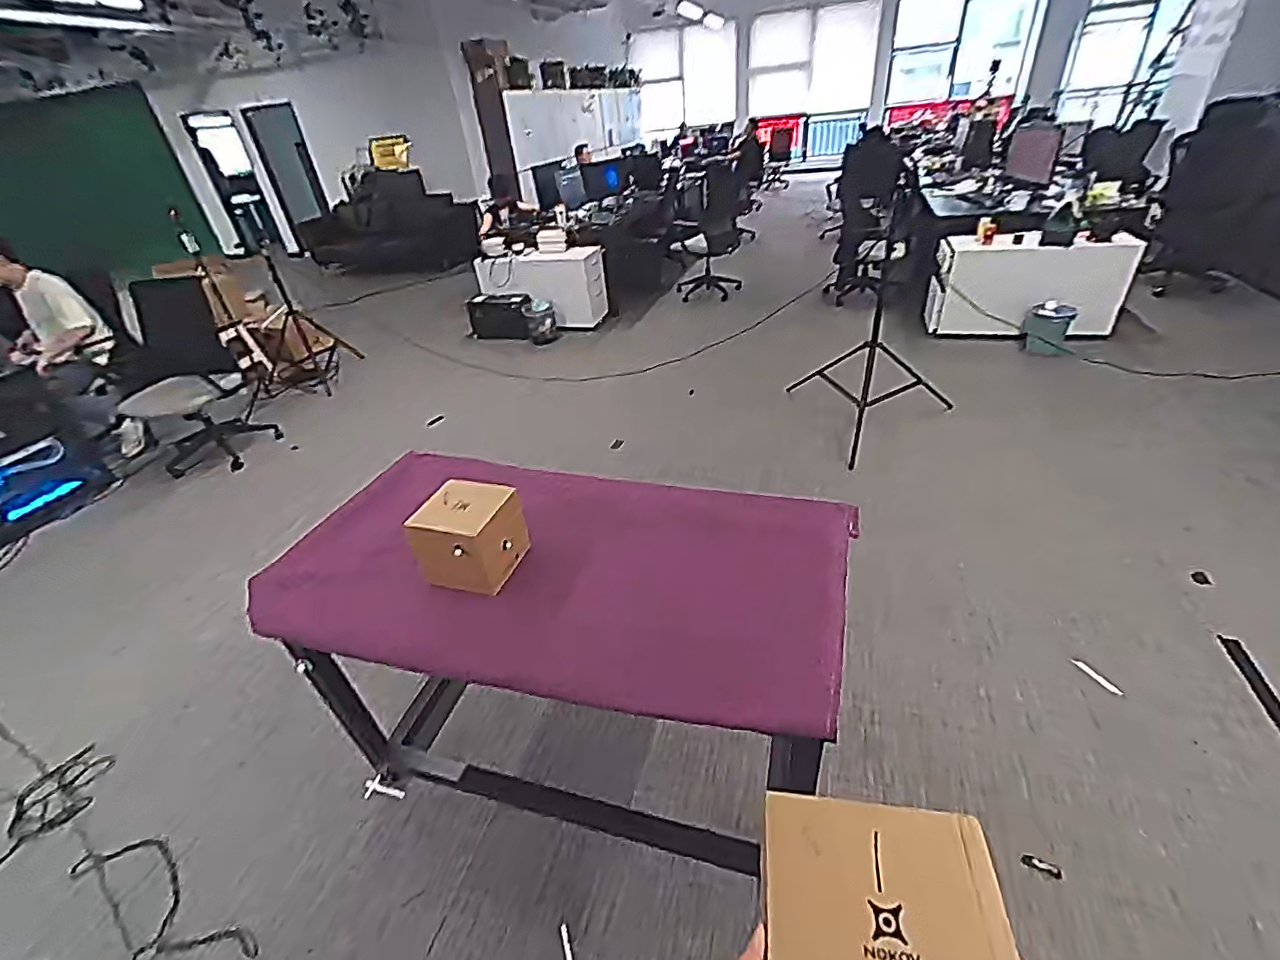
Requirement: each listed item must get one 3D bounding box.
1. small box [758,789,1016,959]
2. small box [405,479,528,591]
[{"bbox_3d":[0.178,0.376,0.421,0.168,0.176,0.179,0,38,11],"label":"small box"},{"bbox_3d":[-0.364,0.119,1.175,0.179,0.176,0.168,6,36,18],"label":"small box"}]
